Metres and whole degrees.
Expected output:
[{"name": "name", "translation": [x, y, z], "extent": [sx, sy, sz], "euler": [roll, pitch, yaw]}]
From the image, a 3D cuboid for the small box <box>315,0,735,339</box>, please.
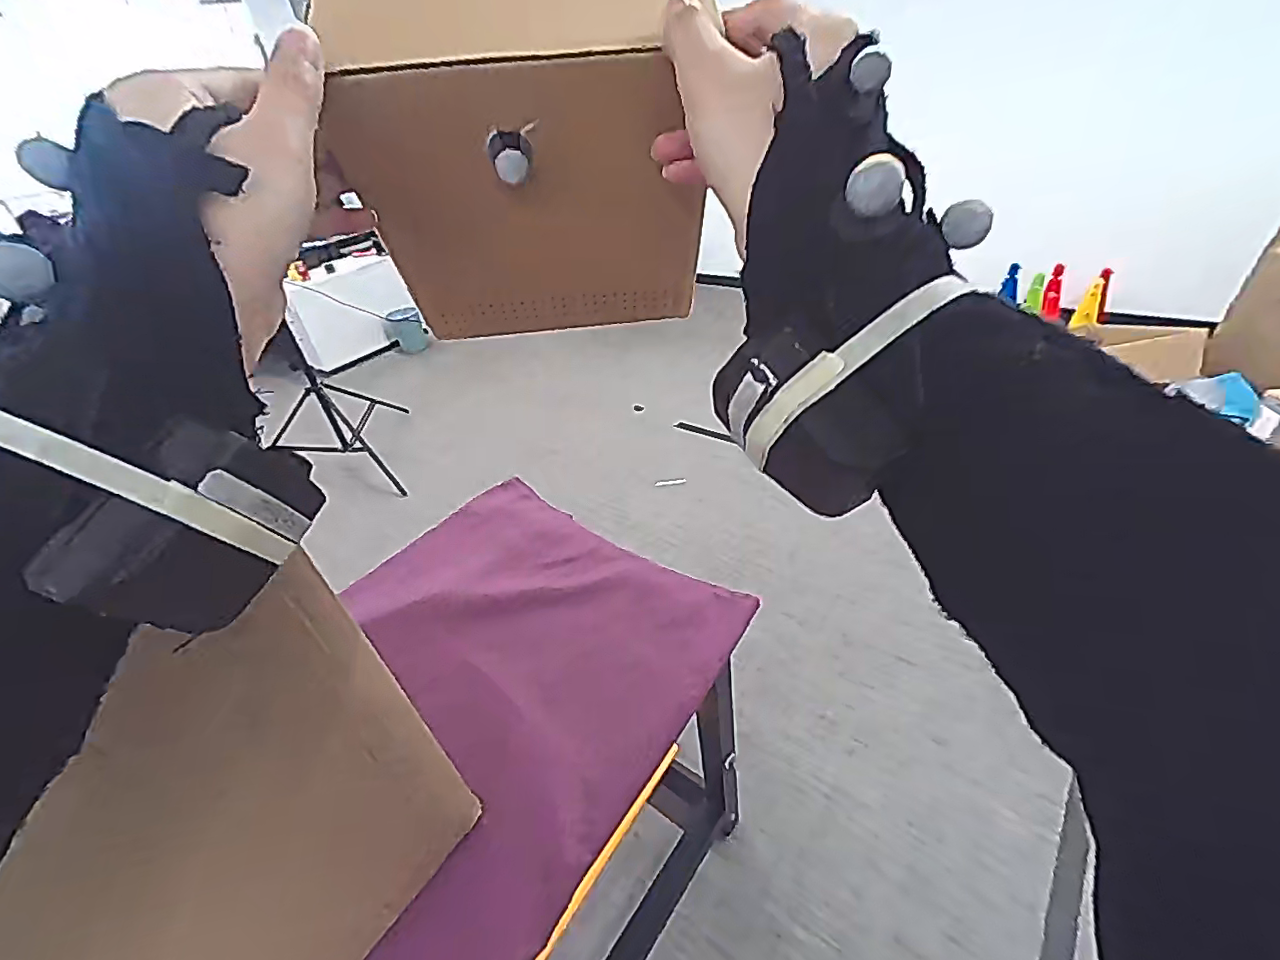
[{"name": "small box", "translation": [-0.053, -0.205, 0.326], "extent": [0.179, 0.176, 0.168], "euler": [-6, 67, -2]}]
